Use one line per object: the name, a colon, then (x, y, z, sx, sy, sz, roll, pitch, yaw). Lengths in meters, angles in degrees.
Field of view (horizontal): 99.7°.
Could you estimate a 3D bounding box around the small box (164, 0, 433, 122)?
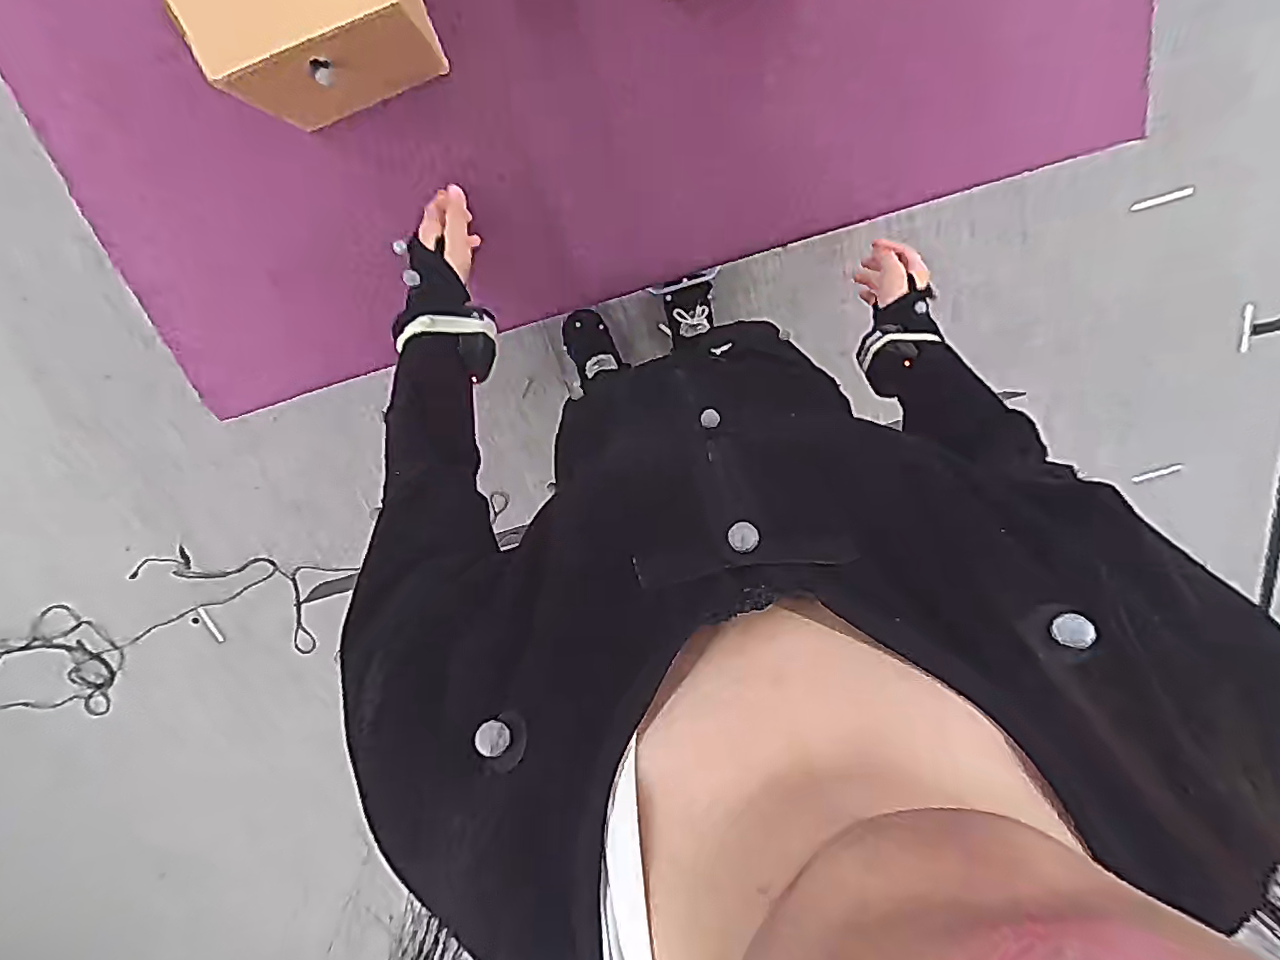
small box: (-0.309, -0.457, 0.487, 0.179, 0.176, 0.168, -20, 112, 4)
